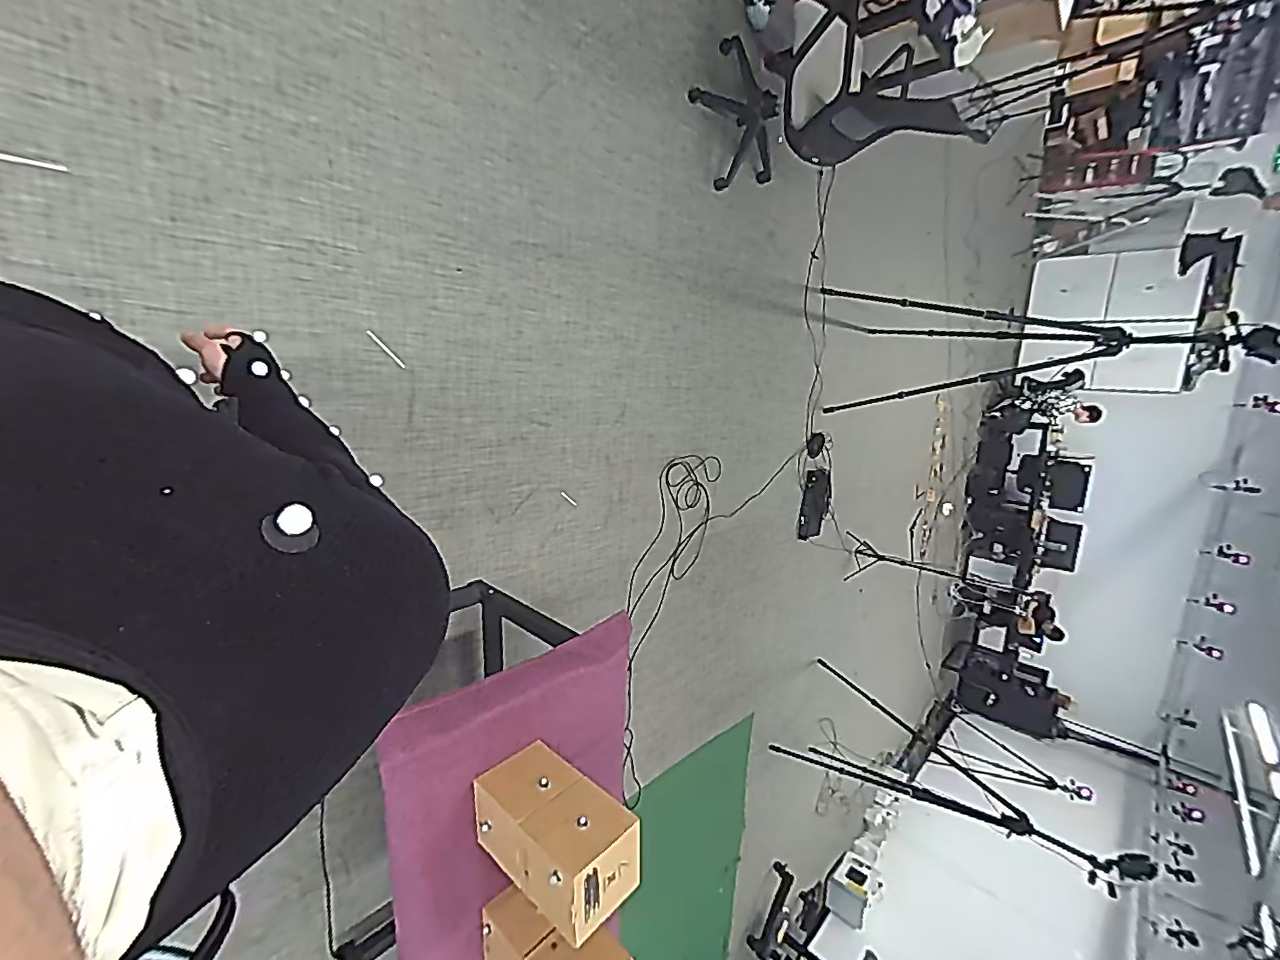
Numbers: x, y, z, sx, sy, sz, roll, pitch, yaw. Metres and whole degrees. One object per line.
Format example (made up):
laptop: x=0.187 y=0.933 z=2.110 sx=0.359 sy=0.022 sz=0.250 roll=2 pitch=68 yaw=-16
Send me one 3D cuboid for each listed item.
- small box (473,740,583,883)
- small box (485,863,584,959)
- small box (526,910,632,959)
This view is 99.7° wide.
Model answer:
small box: x=-0.244 y=0.714 z=1.192 sx=0.179 sy=0.176 sz=0.168 roll=-13 pitch=109 yaw=-45
small box: x=-0.251 y=1.052 z=1.269 sx=0.179 sy=0.176 sz=0.168 roll=-12 pitch=108 yaw=-46
small box: x=-0.135 y=1.079 z=1.157 sx=0.168 sy=0.176 sz=0.179 roll=-11 pitch=108 yaw=-45
